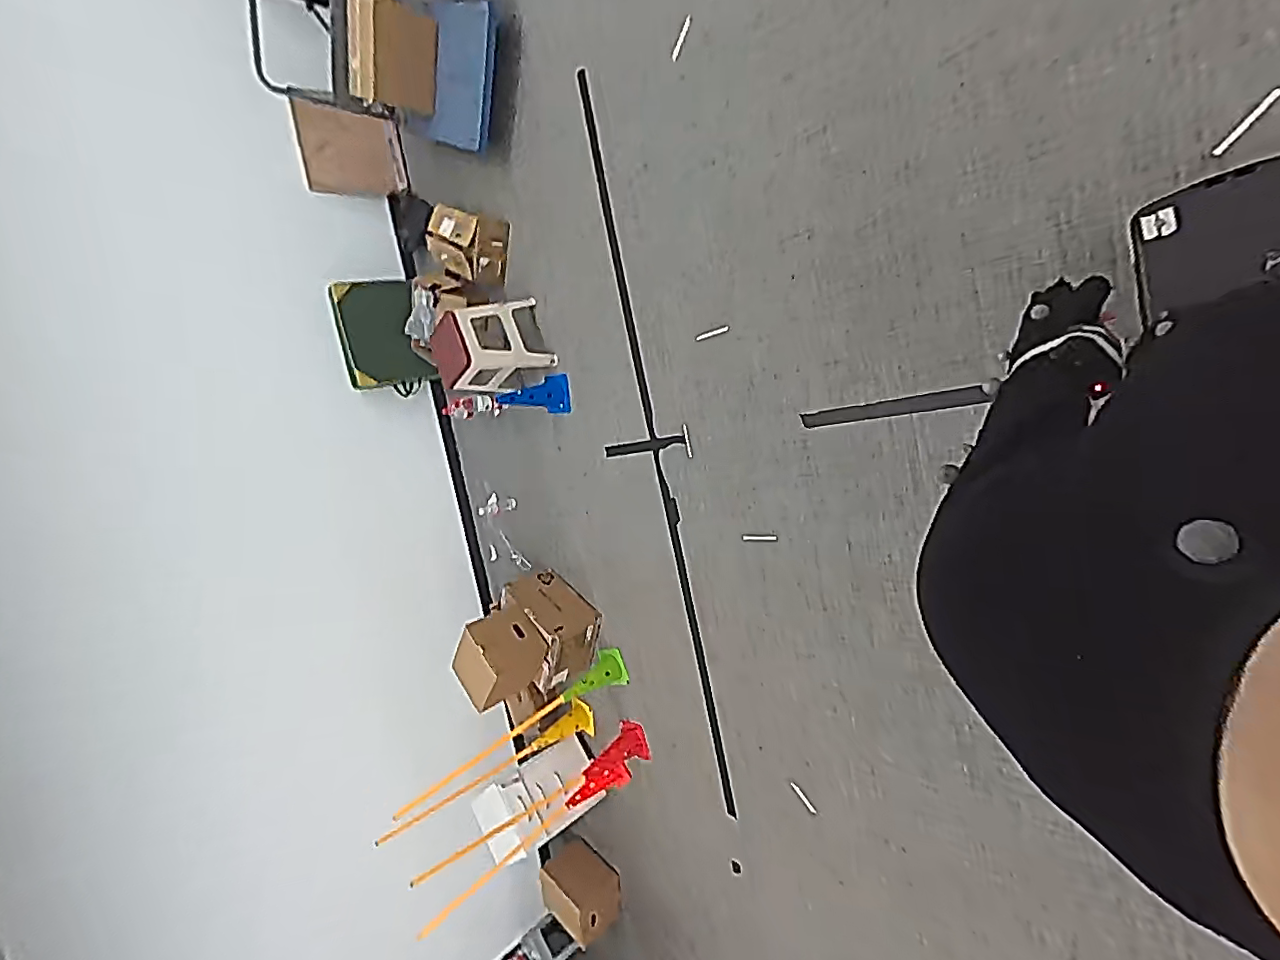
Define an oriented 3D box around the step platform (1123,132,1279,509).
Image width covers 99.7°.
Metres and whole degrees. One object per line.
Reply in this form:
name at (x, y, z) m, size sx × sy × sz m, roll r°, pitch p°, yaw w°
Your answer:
step platform at (1.173, -0.285, 1.048) m, size 0.286 × 0.204 × 0.684 m, roll -9°, pitch 94°, yaw 47°
